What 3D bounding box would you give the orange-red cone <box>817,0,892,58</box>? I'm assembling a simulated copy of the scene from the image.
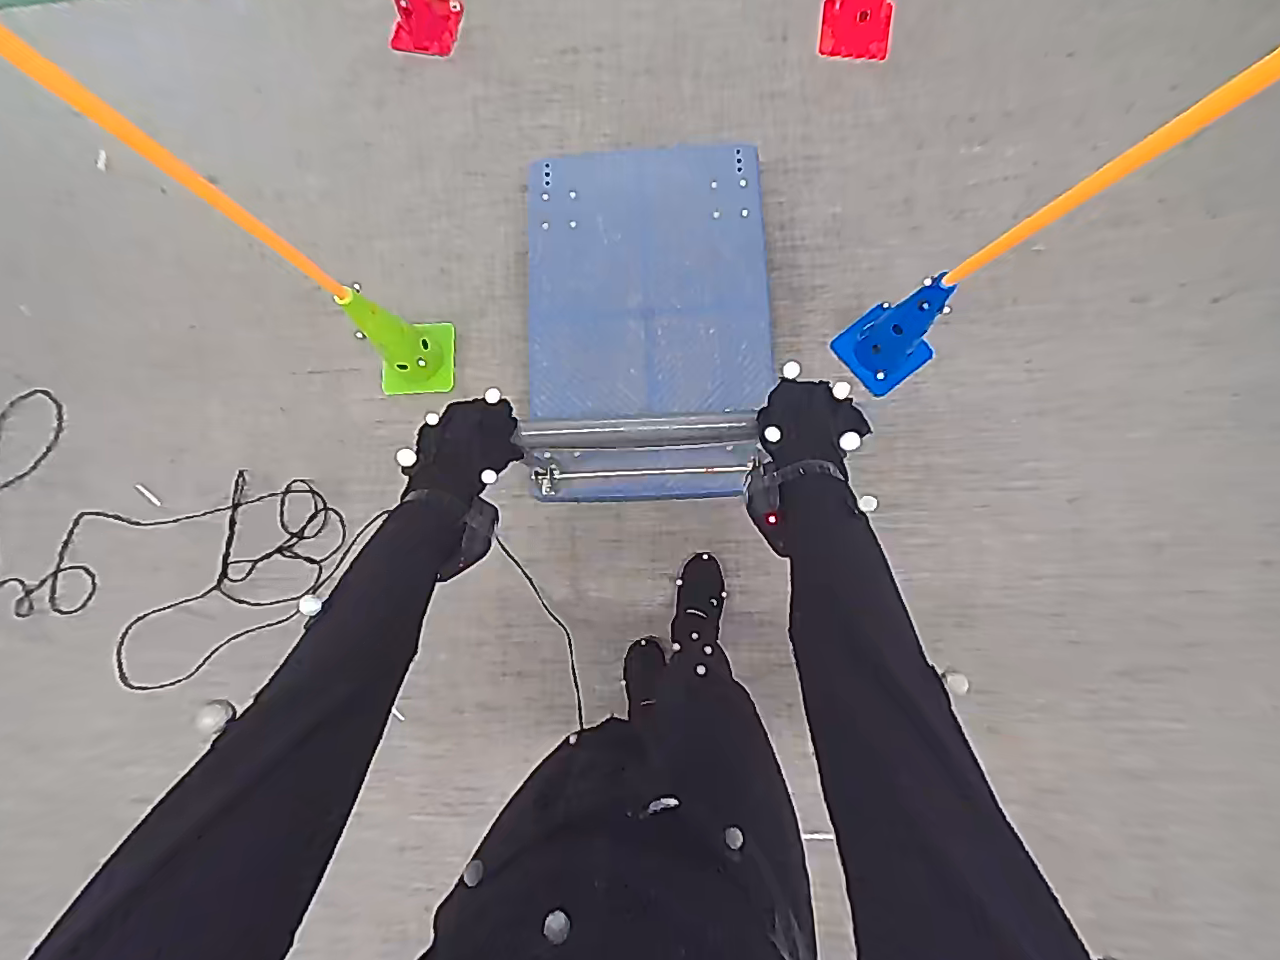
[{"bbox_3d":[0.607,-1.336,1.395,0.198,0.360,0.199,9,83,6],"label":"orange-red cone"}]
